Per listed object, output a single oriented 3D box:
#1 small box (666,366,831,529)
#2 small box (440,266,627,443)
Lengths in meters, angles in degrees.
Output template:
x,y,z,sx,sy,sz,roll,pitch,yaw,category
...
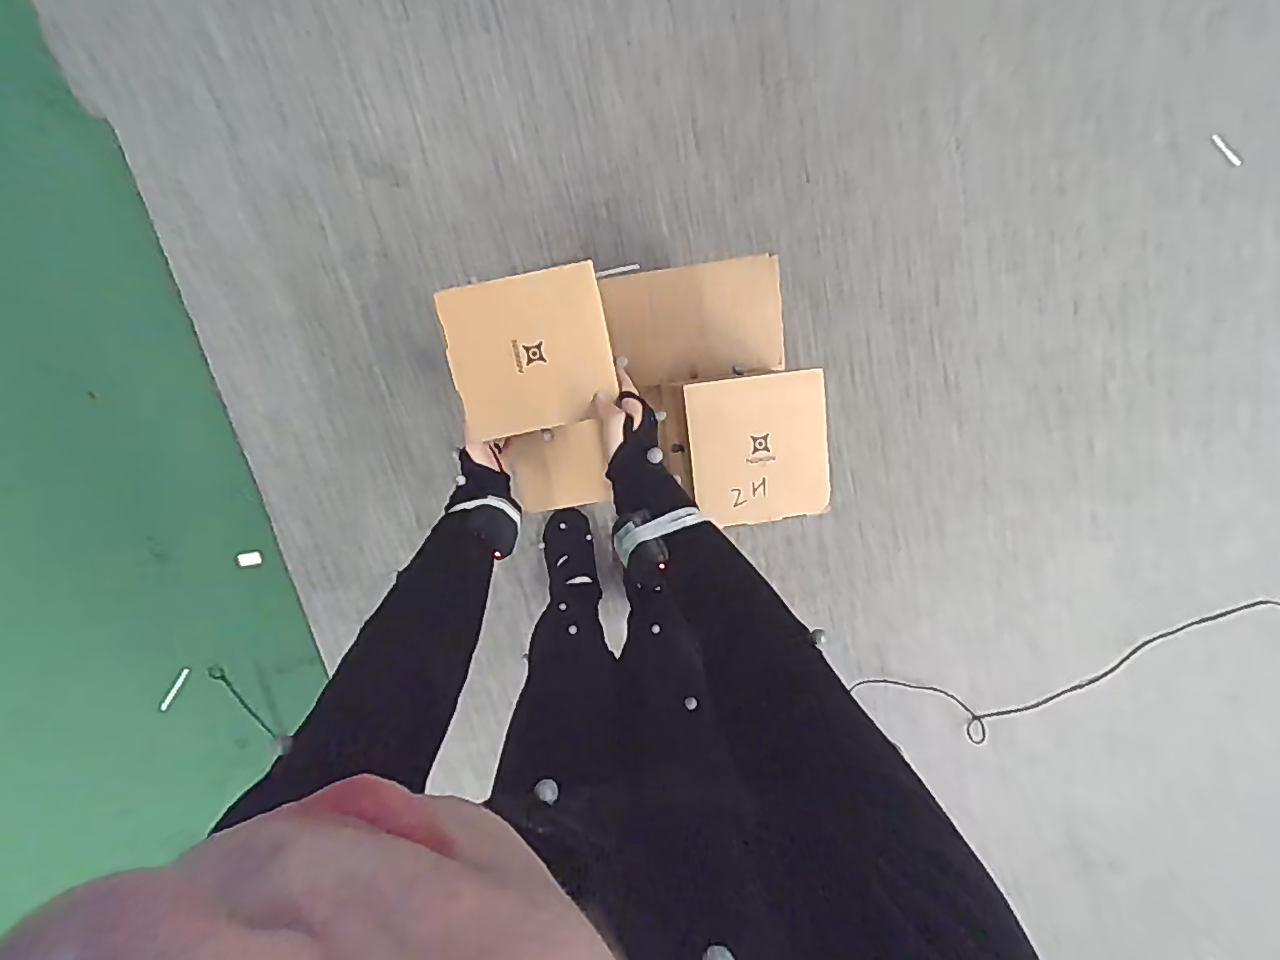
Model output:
x,y,z,sx,sy,sz,roll,pitch,yaw,category
0.132,-0.049,0.705,0.168,0.176,0.179,-7,101,-4,small box
-0.116,-0.147,0.665,0.179,0.176,0.168,-11,98,2,small box
